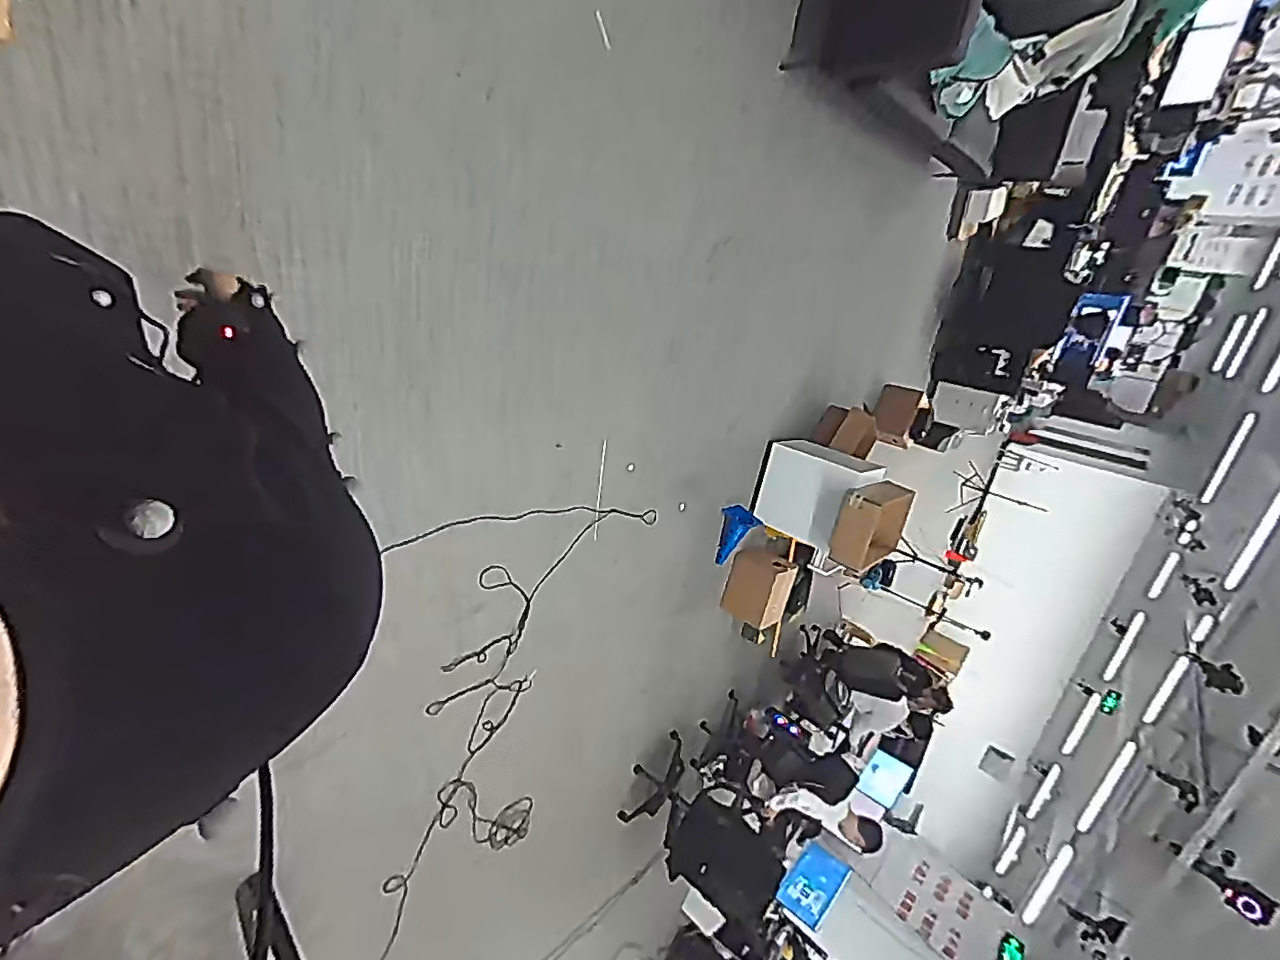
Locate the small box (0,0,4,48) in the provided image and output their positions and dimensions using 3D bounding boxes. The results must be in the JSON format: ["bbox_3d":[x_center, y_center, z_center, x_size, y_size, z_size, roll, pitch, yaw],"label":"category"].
[{"bbox_3d":[-1.003,-0.738,0.742,0.168,0.176,0.179,0,110,-50],"label":"small box"}]
